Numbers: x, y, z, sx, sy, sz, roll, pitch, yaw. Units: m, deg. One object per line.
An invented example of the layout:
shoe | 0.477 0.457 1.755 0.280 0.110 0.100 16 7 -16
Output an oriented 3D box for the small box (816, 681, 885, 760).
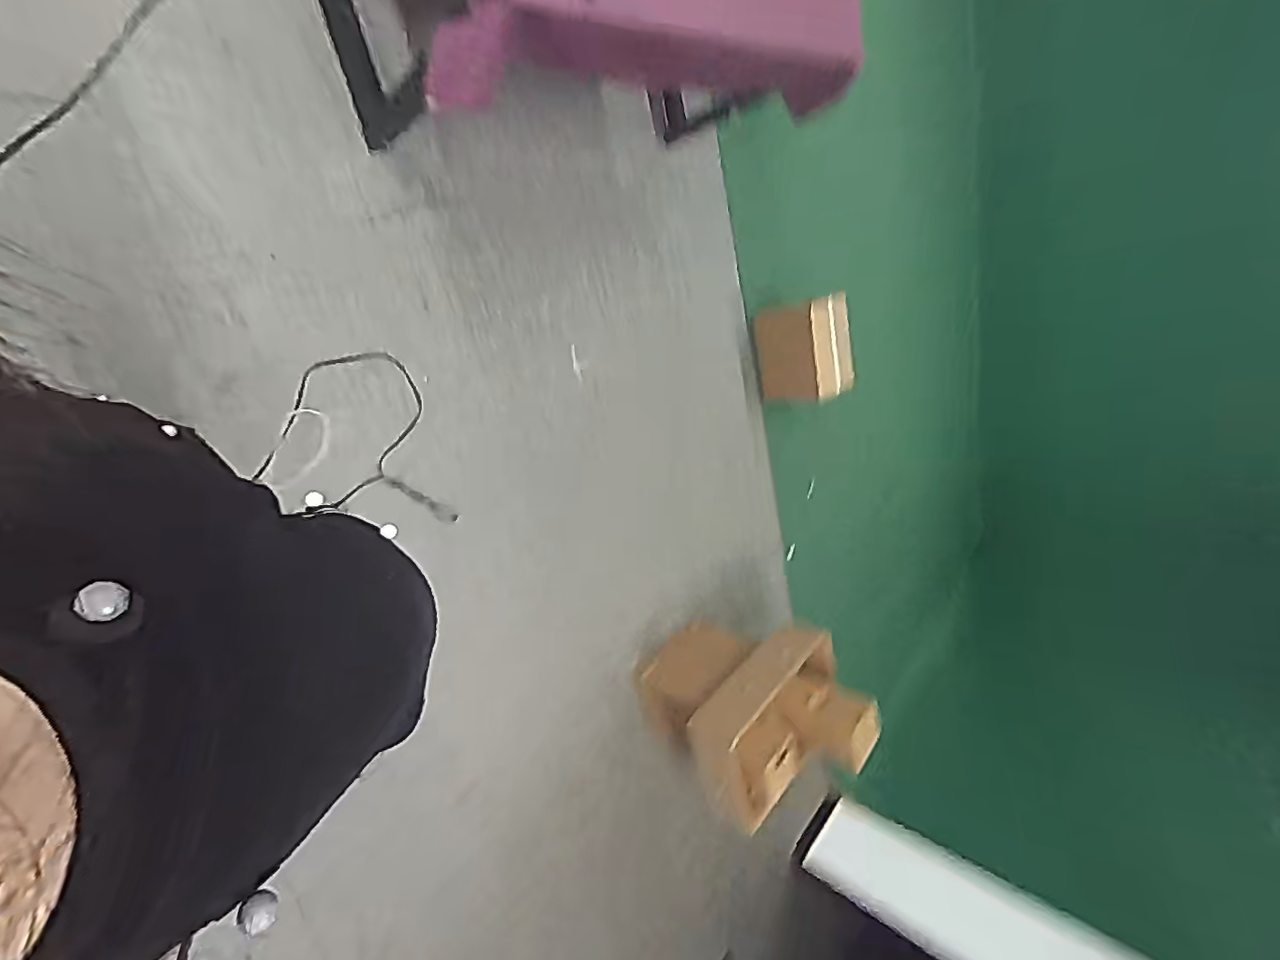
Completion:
small box | 0.746 0.843 1.923 0.168 0.176 0.179 -34 118 -33
